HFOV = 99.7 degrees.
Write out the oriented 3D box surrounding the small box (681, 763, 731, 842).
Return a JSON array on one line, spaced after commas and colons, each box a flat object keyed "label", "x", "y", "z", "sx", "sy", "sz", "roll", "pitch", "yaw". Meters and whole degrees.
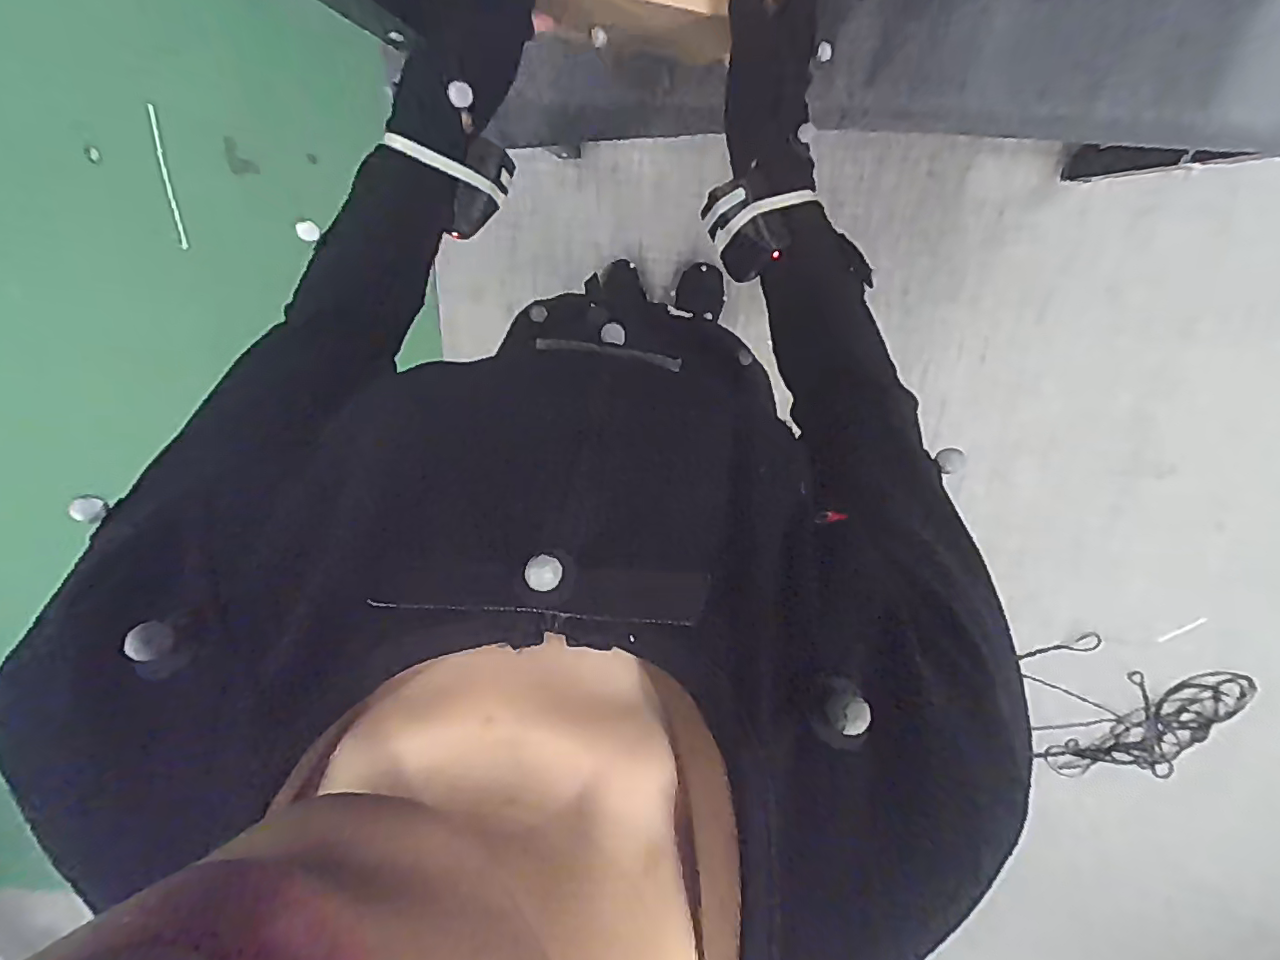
[{"label": "small box", "x": 0.236, "y": 1.162, "z": 1.951, "sx": 0.168, "sy": 0.176, "sz": 0.179, "roll": 2, "pitch": 113, "yaw": 4}]
